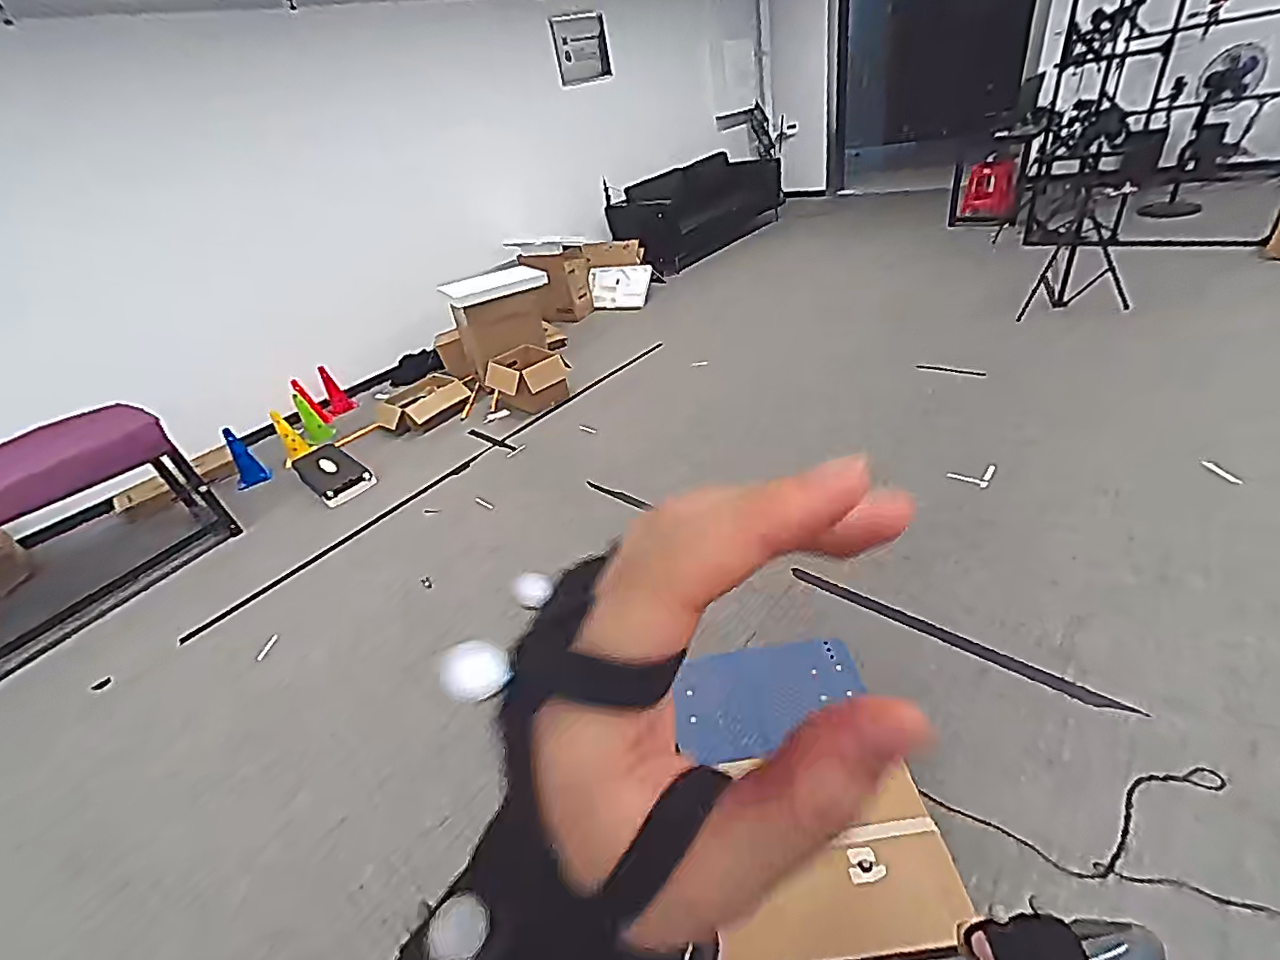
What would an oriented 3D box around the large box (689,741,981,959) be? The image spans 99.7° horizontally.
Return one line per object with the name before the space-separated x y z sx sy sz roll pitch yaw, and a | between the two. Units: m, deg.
large box | 0.323 0.745 1.007 0.408 0.320 0.320 -10 35 2
